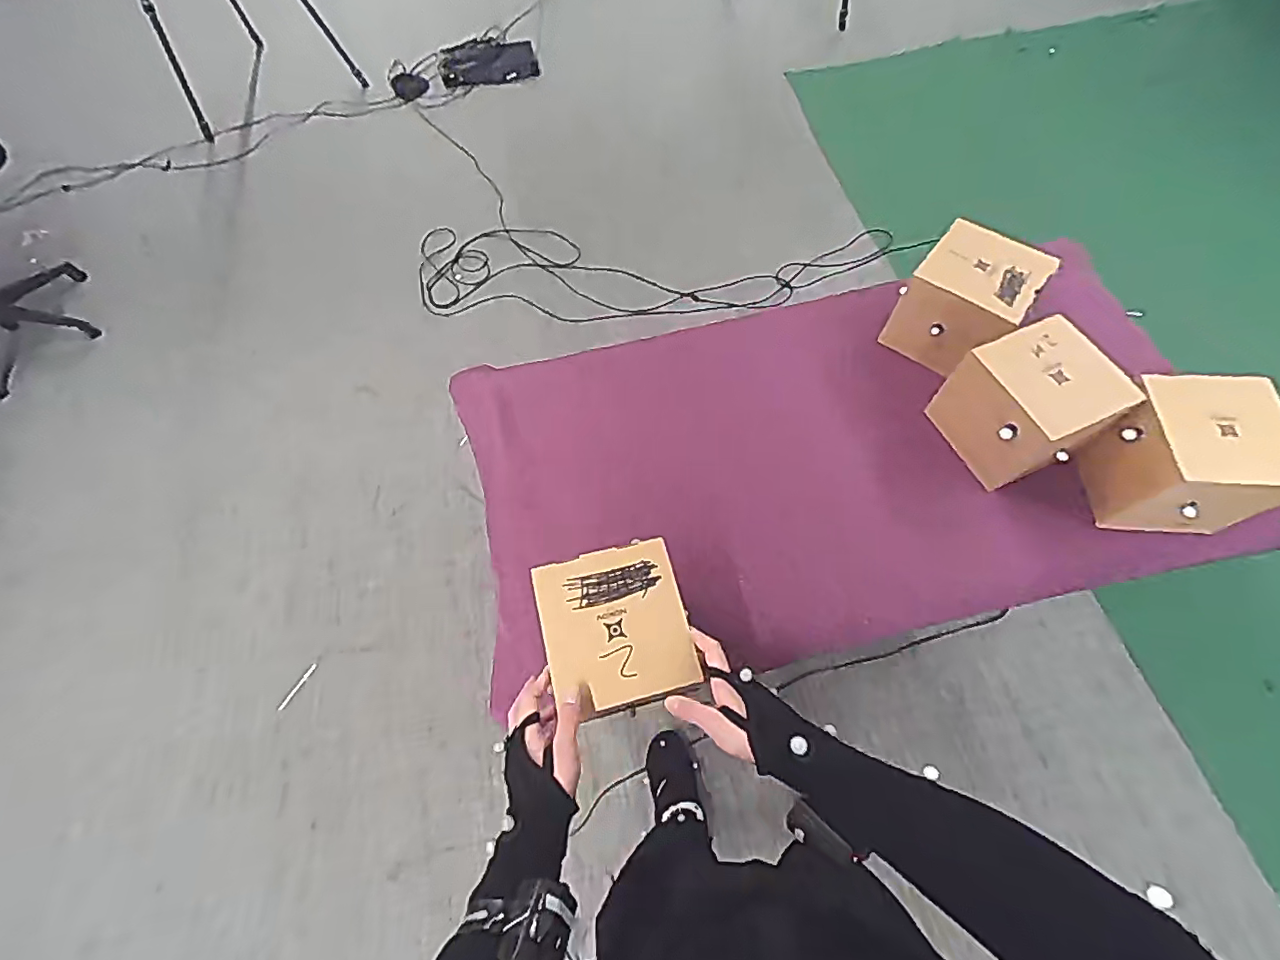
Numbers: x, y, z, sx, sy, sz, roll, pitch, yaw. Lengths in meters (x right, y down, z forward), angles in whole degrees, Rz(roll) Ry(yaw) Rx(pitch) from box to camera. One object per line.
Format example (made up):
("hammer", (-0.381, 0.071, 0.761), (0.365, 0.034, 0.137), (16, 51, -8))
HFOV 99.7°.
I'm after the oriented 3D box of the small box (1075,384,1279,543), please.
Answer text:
("small box", (0.791, -0.018, 0.789), (0.168, 0.176, 0.179), (3, 62, 6))
